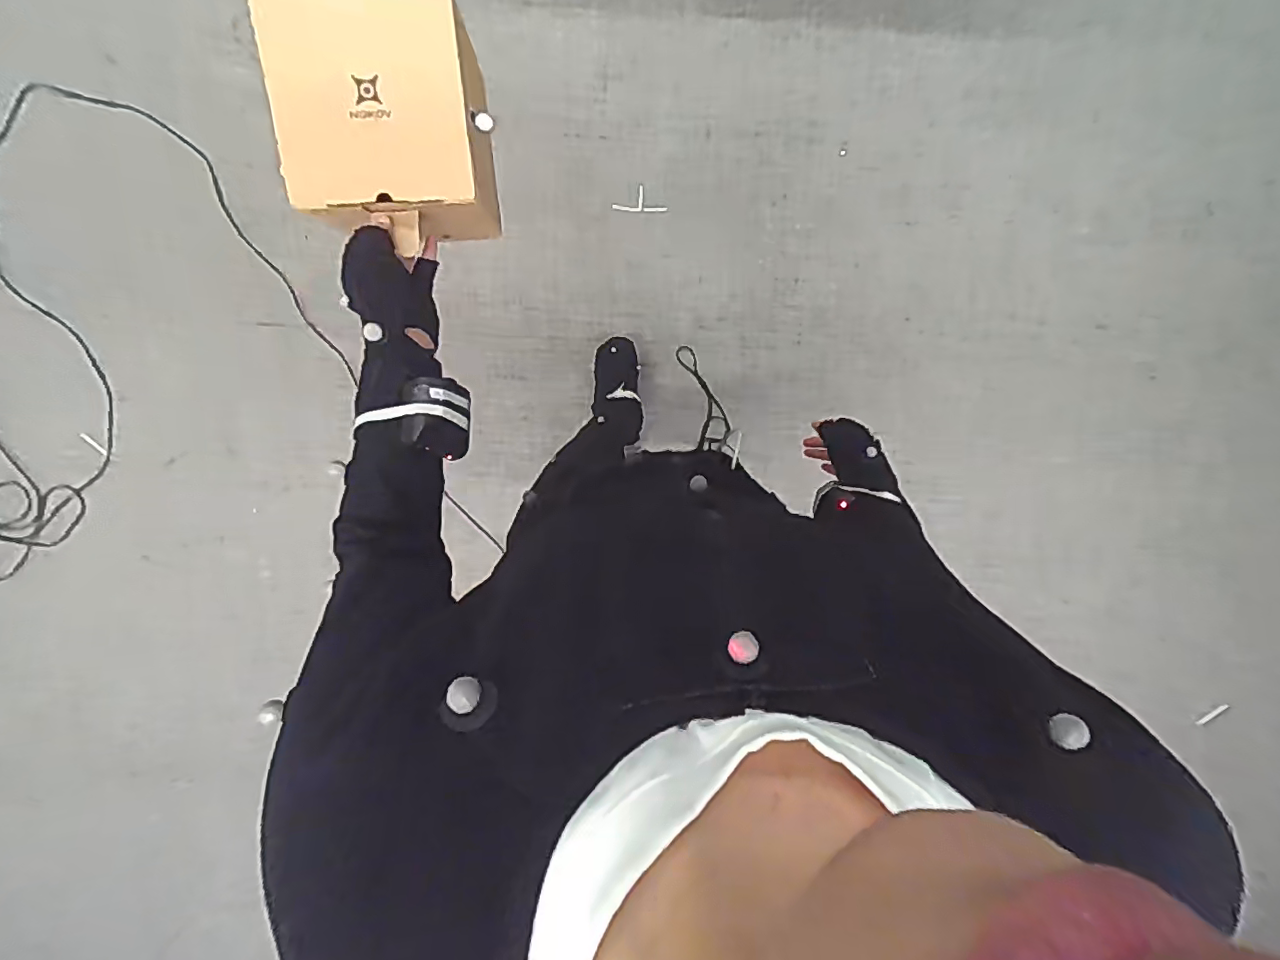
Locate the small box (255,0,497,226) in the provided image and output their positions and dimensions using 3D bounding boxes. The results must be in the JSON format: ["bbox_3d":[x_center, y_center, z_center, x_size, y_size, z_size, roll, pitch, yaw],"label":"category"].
[{"bbox_3d":[-0.244,-0.368,0.544,0.168,0.176,0.179,-5,106,-6],"label":"small box"}]
